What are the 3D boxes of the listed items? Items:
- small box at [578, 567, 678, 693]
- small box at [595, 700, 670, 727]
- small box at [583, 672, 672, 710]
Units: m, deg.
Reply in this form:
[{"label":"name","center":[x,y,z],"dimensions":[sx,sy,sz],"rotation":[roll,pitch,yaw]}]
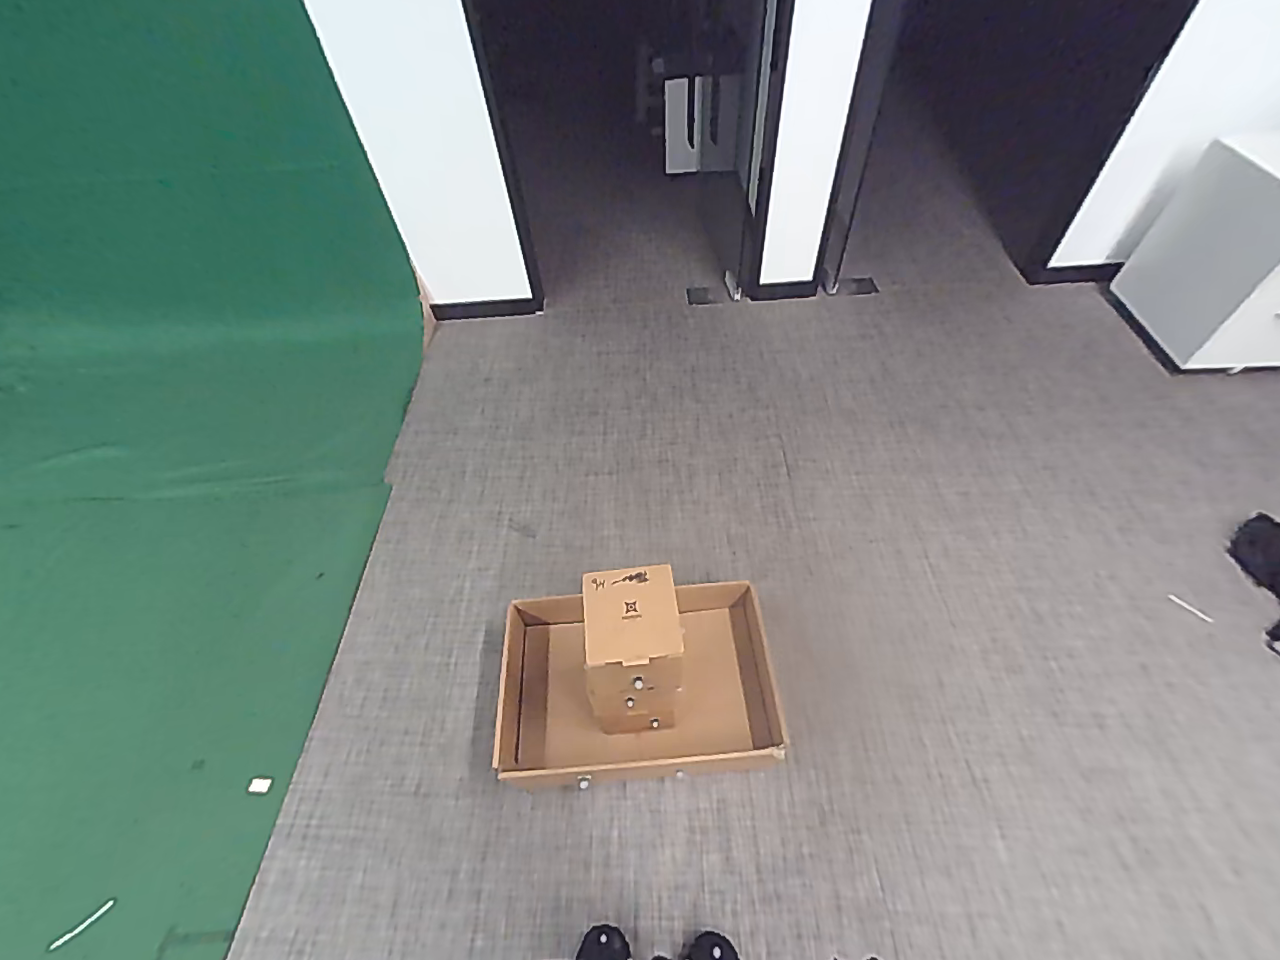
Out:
[{"label":"small box","center":[-0.020,0.291,1.028],"dimensions":[0.168,0.176,0.179],"rotation":[-8,51,-2]},{"label":"small box","center":[-0.019,0.473,1.277],"dimensions":[0.168,0.176,0.179],"rotation":[-5,50,-1]},{"label":"small box","center":[-0.024,0.385,1.159],"dimensions":[0.179,0.176,0.168],"rotation":[-4,51,0]}]
